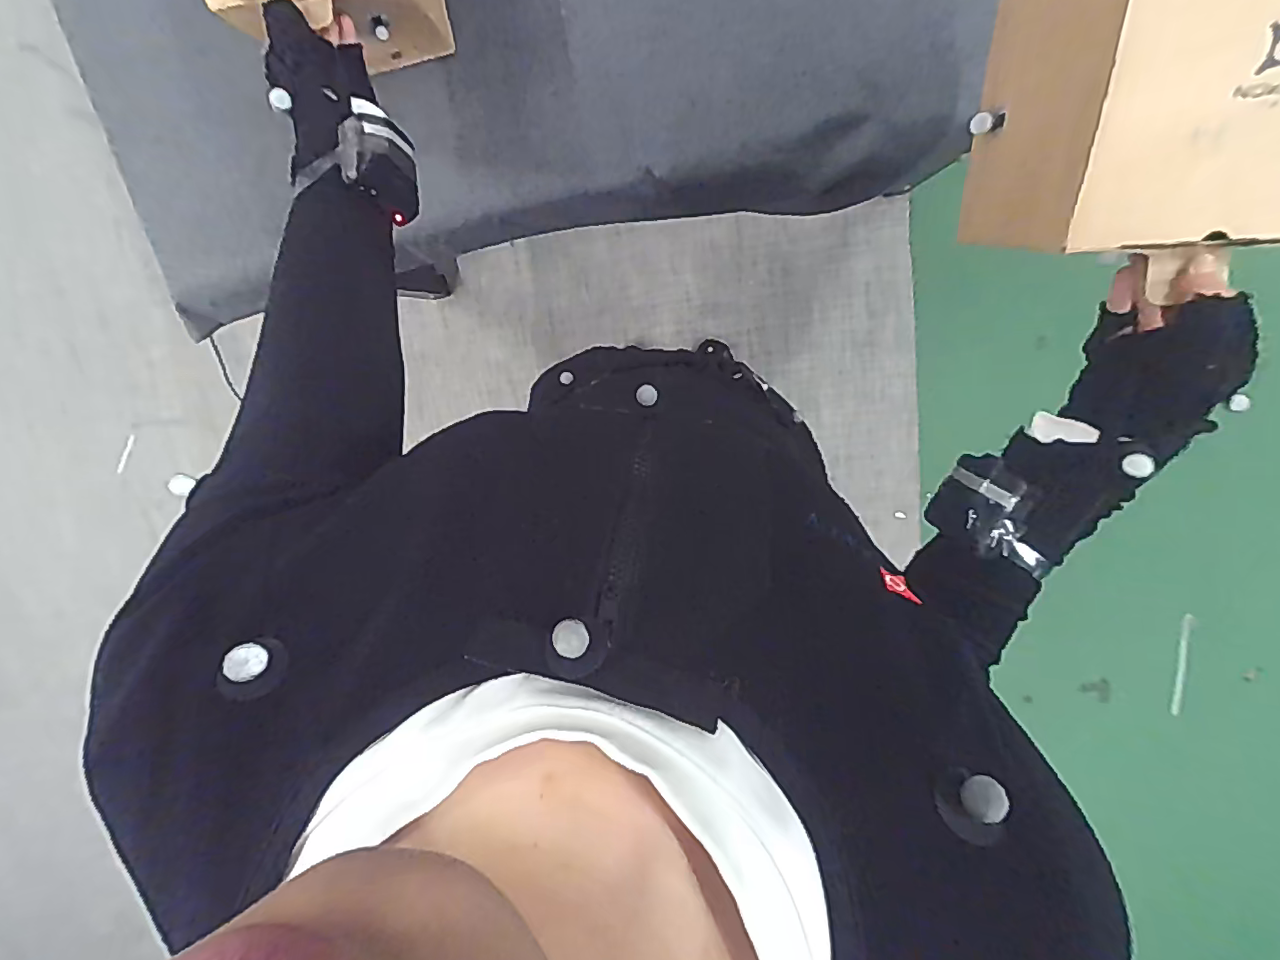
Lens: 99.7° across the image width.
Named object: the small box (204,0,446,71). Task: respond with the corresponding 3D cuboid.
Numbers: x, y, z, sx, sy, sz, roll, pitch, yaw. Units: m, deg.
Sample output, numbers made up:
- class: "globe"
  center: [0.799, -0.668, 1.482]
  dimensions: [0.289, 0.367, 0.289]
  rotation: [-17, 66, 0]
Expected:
- class: "small box"
  center: [-0.308, -0.525, 0.509]
  dimensions: [0.168, 0.176, 0.179]
  rotation: [-11, 105, 6]
